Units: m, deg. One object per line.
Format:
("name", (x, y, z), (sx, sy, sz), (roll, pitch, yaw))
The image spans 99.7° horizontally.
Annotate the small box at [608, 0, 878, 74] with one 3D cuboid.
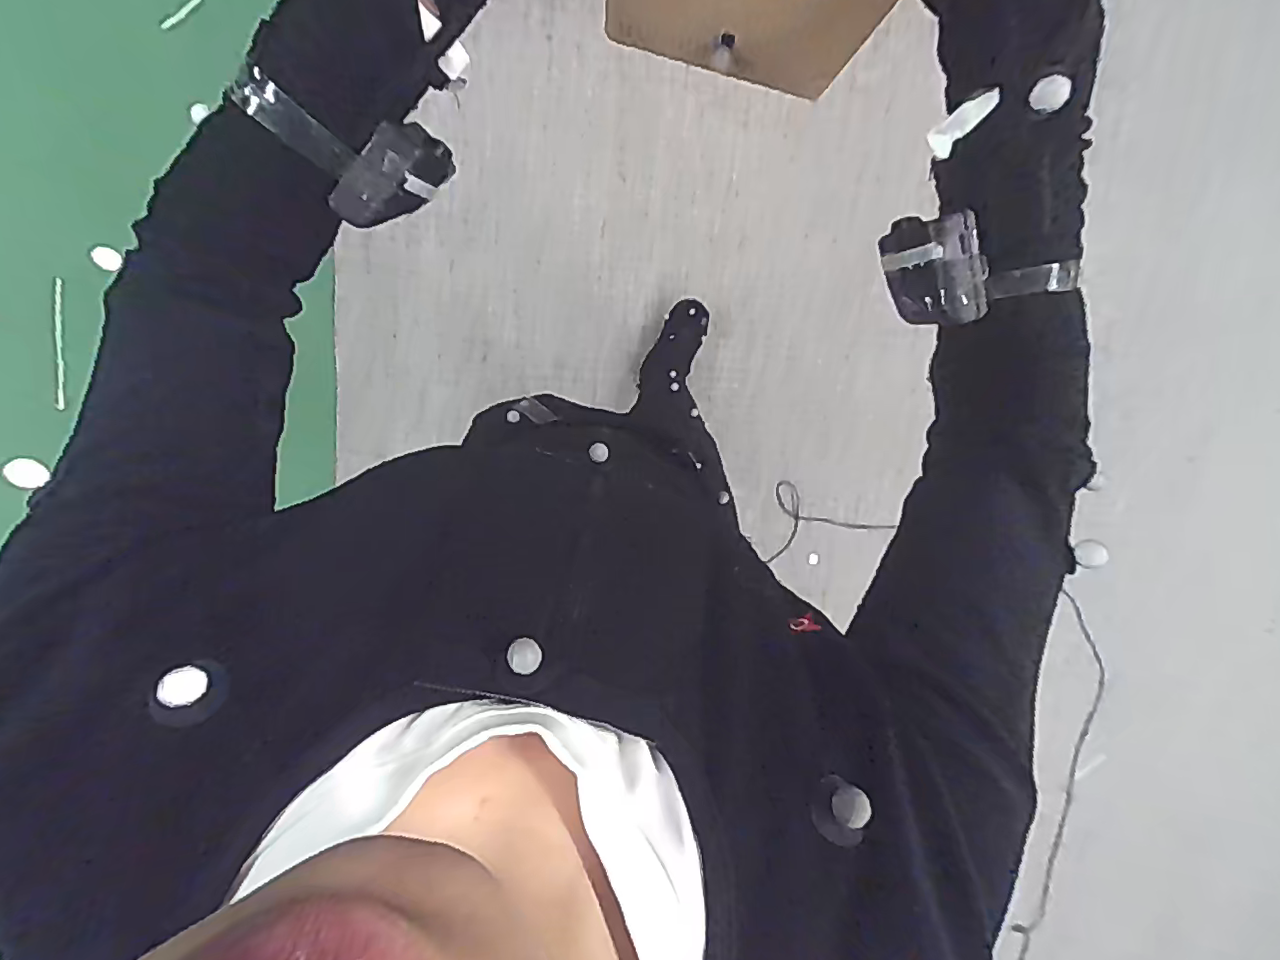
("small box", (0.083, -0.391, 0.326), (0.179, 0.176, 0.168), (11, 100, -8))
